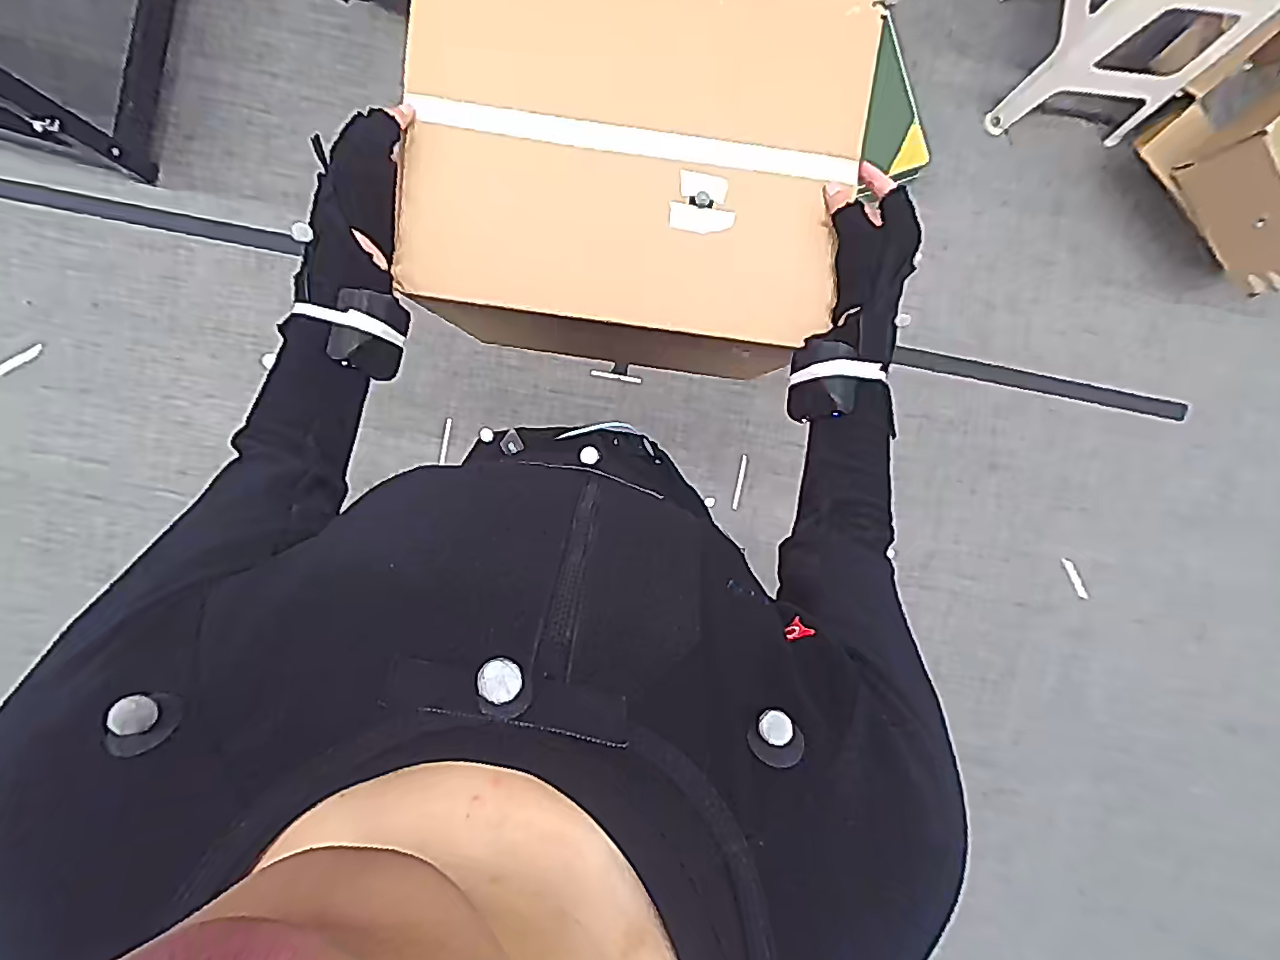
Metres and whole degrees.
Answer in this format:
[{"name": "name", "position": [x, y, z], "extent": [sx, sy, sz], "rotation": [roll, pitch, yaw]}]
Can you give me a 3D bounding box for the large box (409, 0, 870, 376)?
[{"name": "large box", "position": [-0.009, -0.315, 0.646], "extent": [0.408, 0.320, 0.320], "rotation": [7, 96, -3]}]
